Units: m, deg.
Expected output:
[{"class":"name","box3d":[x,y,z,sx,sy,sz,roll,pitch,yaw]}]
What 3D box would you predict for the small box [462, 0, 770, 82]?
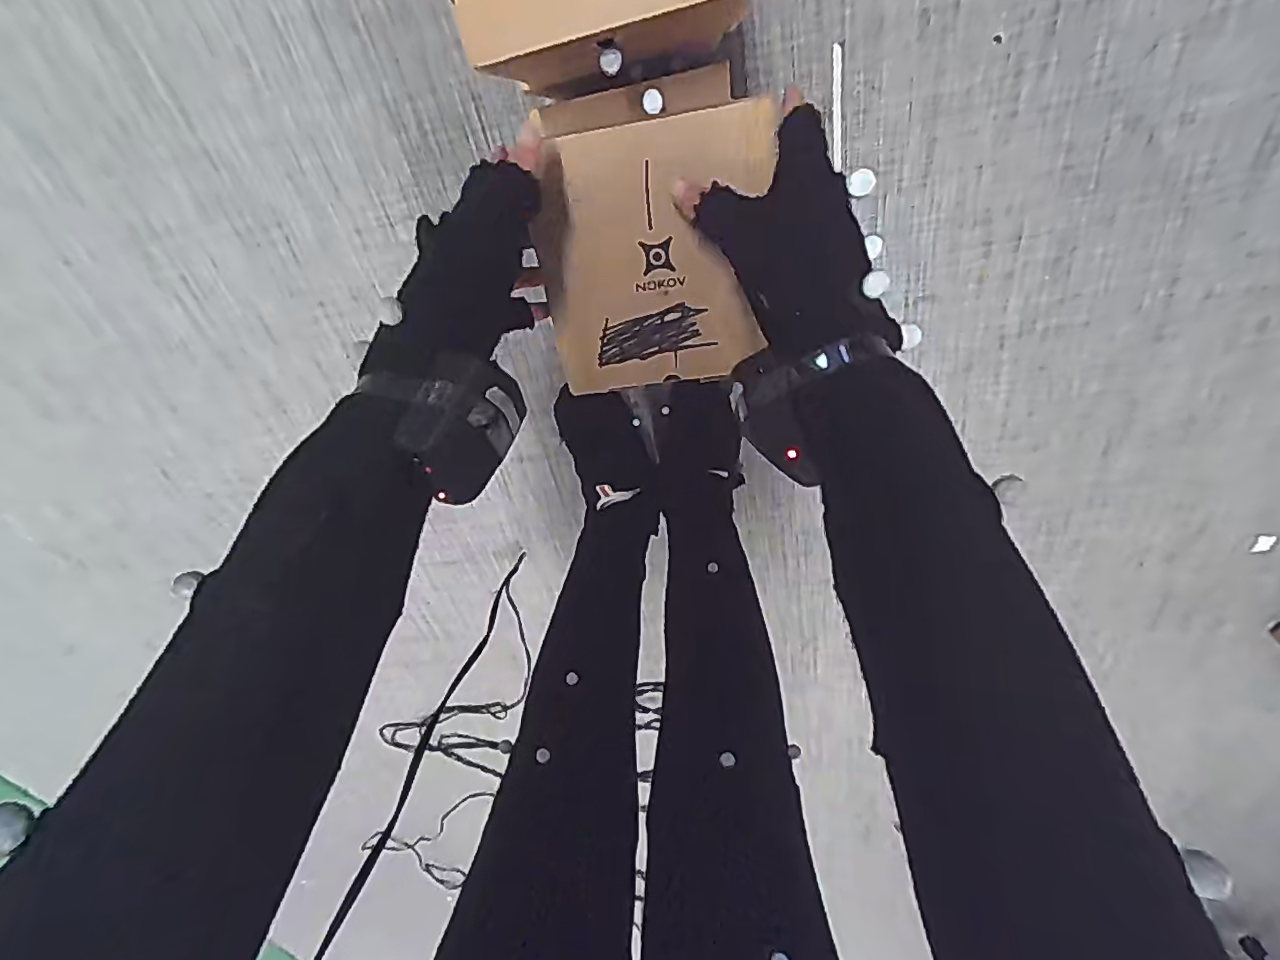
[{"class":"small box","box3d":[-0.021,-0.366,0.333,0.179,0.176,0.168,-8,123,10]}]
